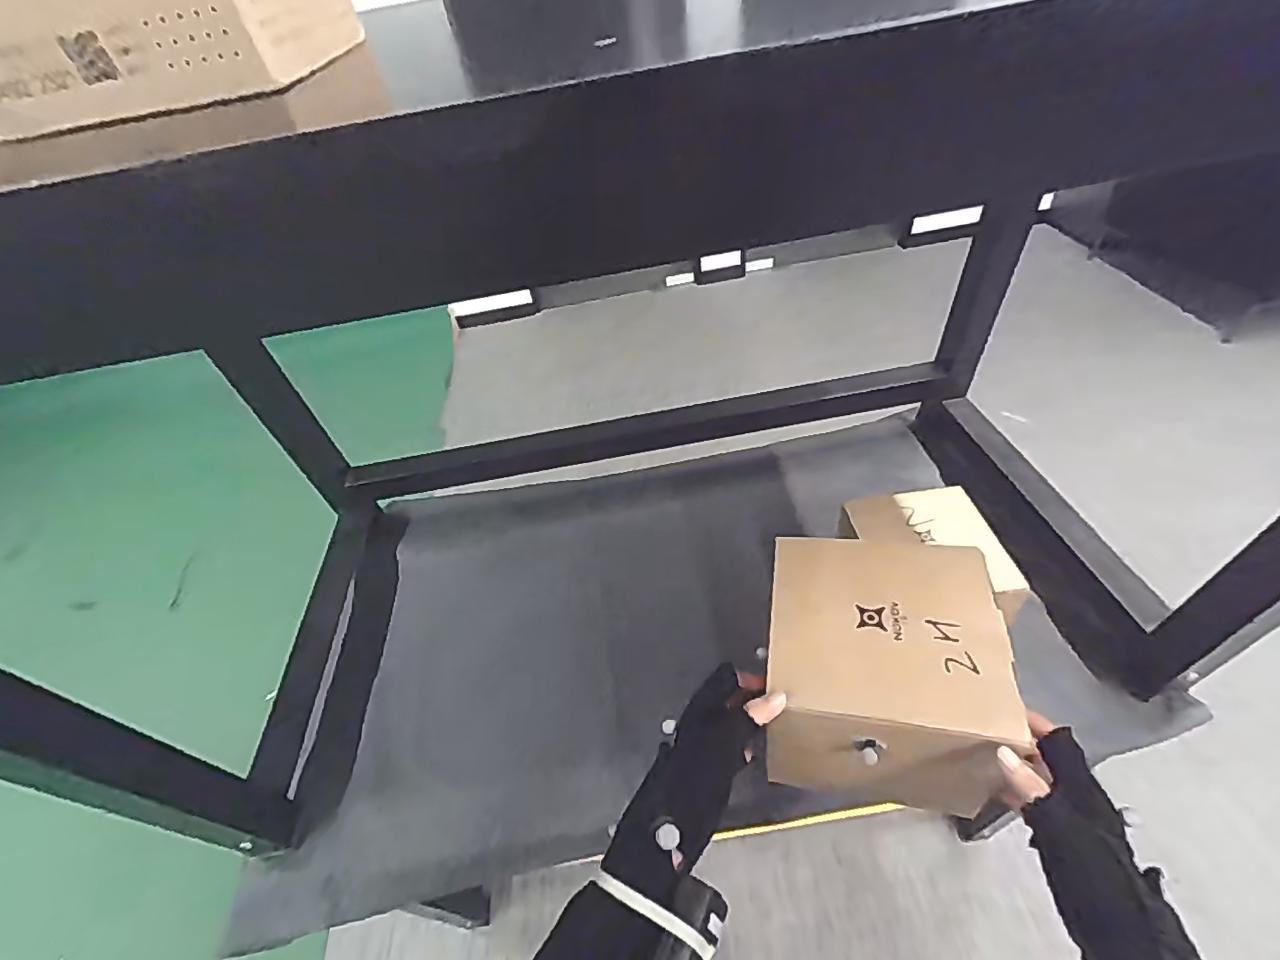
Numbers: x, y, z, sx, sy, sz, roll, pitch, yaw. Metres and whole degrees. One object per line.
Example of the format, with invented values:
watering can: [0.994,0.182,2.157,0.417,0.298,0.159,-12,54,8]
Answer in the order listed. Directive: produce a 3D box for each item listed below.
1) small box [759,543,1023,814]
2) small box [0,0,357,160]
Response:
small box: [0.205,0.176,0.489,0.179,0.176,0.168,2,45,17]
small box: [-0.250,-0.250,0.226,0.168,0.176,0.179,-11,44,-1]
